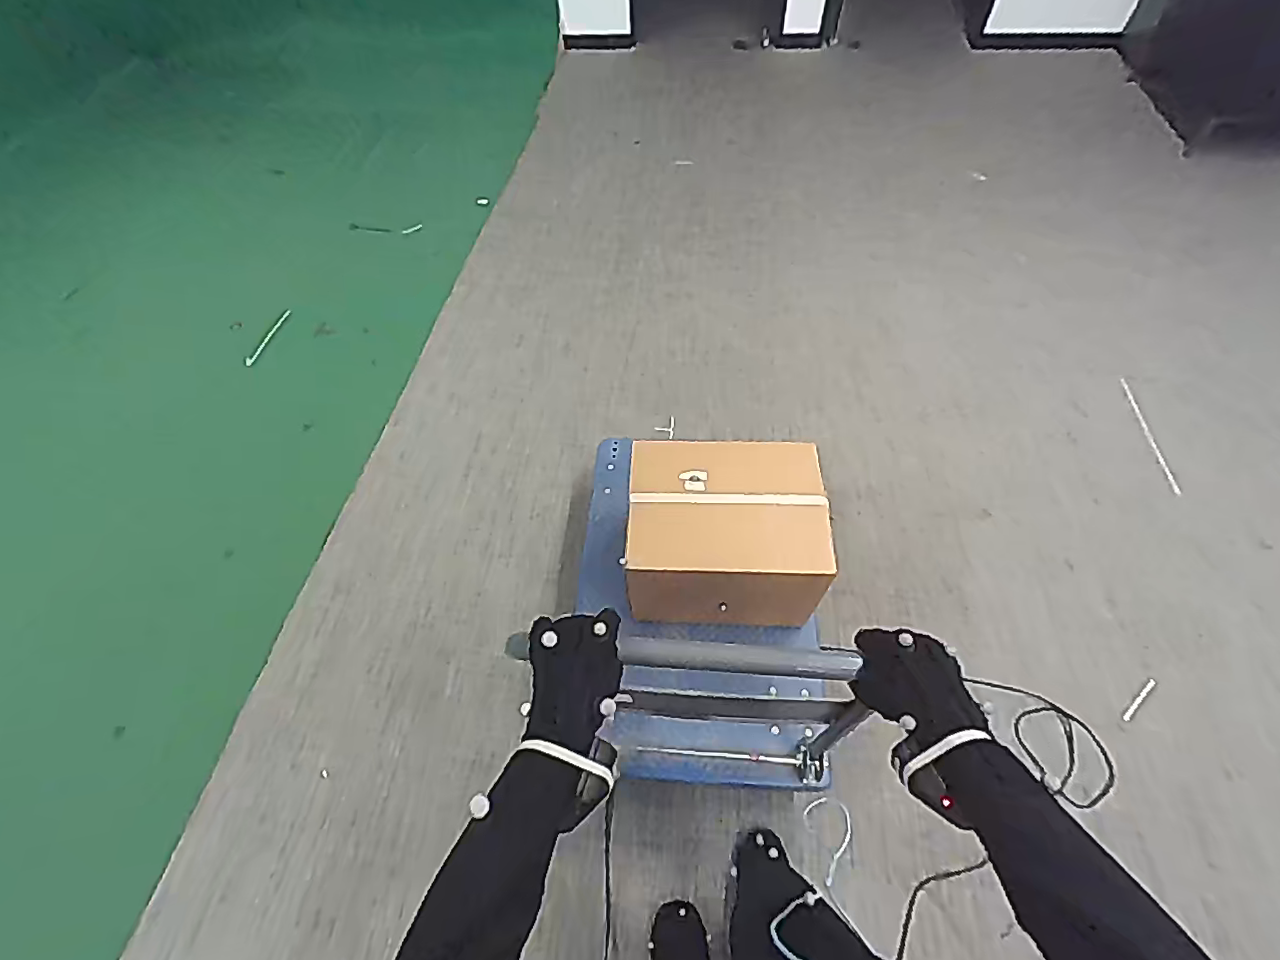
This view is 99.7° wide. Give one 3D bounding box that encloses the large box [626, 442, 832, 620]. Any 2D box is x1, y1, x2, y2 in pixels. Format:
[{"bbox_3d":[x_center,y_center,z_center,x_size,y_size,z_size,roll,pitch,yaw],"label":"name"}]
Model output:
[{"bbox_3d":[0.188,0.127,1.250,0.408,0.320,0.320,0,56,5],"label":"large box"}]
